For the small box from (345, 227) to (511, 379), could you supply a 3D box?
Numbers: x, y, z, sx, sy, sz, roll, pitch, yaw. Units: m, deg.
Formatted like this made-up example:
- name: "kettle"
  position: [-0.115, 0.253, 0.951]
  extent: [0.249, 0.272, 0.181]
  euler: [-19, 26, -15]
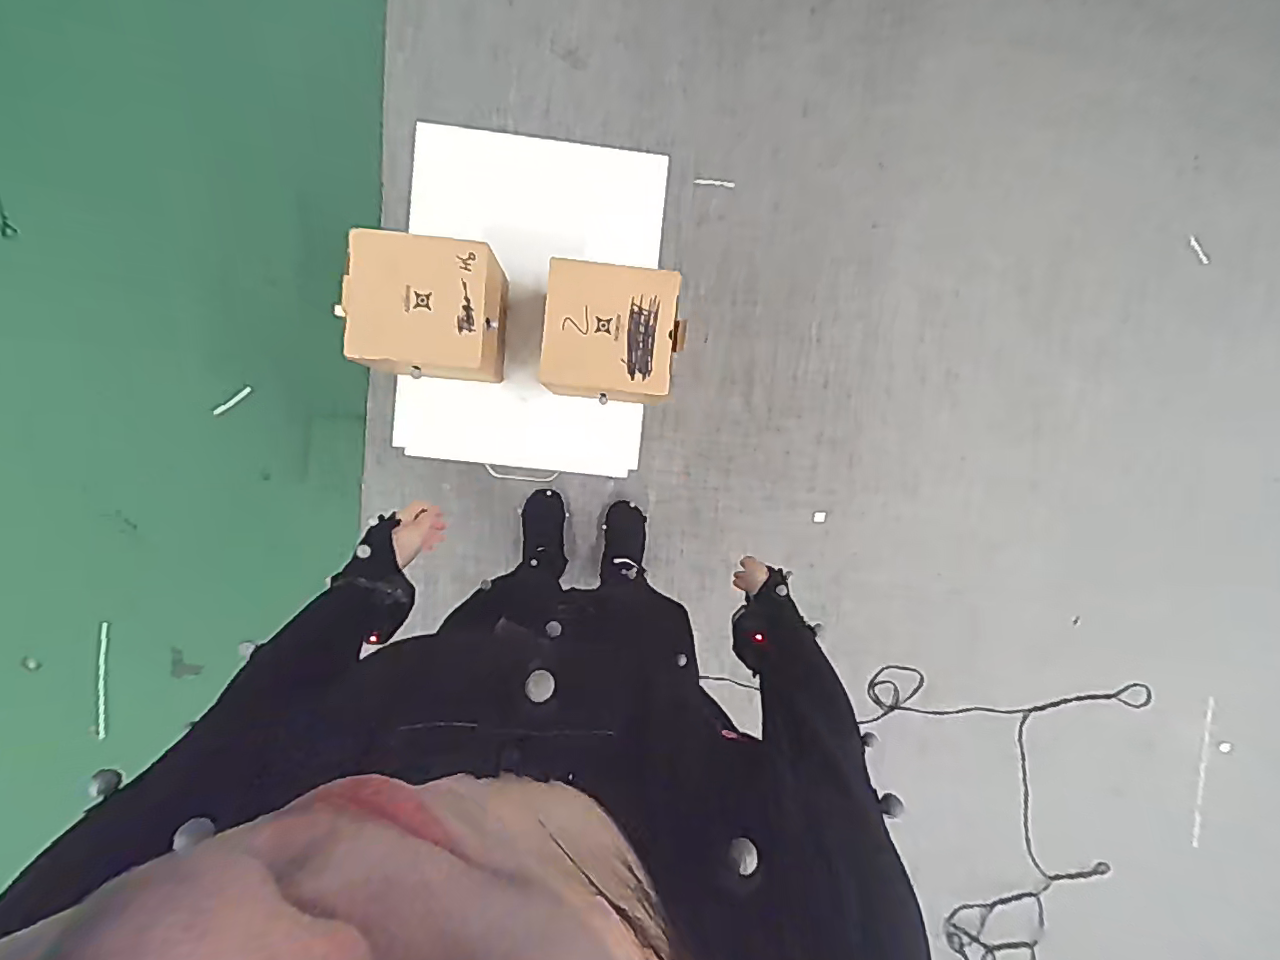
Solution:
- name: "small box"
  position: [-0.292, -0.241, 0.777]
  extent: [0.179, 0.176, 0.168]
  euler: [4, 94, -5]
